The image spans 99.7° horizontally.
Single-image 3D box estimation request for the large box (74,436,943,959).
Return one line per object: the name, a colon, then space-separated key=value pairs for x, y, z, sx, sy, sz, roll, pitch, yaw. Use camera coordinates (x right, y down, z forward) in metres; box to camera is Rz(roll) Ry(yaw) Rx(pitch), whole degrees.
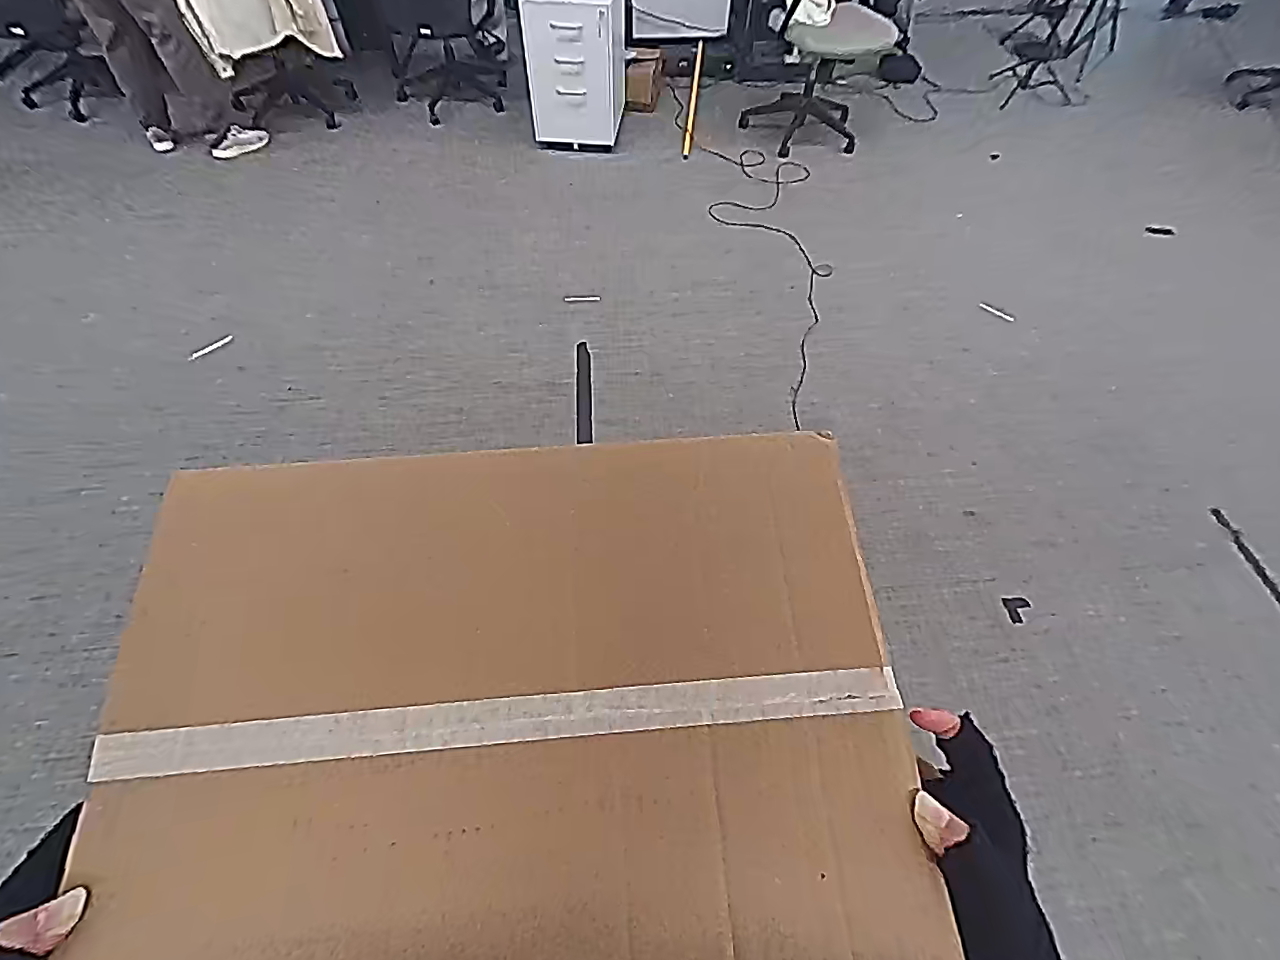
large box: x=-0.070 y=0.184 z=0.428 sx=0.408 sy=0.320 sz=0.320 roll=-4 pitch=67 yaw=-2
